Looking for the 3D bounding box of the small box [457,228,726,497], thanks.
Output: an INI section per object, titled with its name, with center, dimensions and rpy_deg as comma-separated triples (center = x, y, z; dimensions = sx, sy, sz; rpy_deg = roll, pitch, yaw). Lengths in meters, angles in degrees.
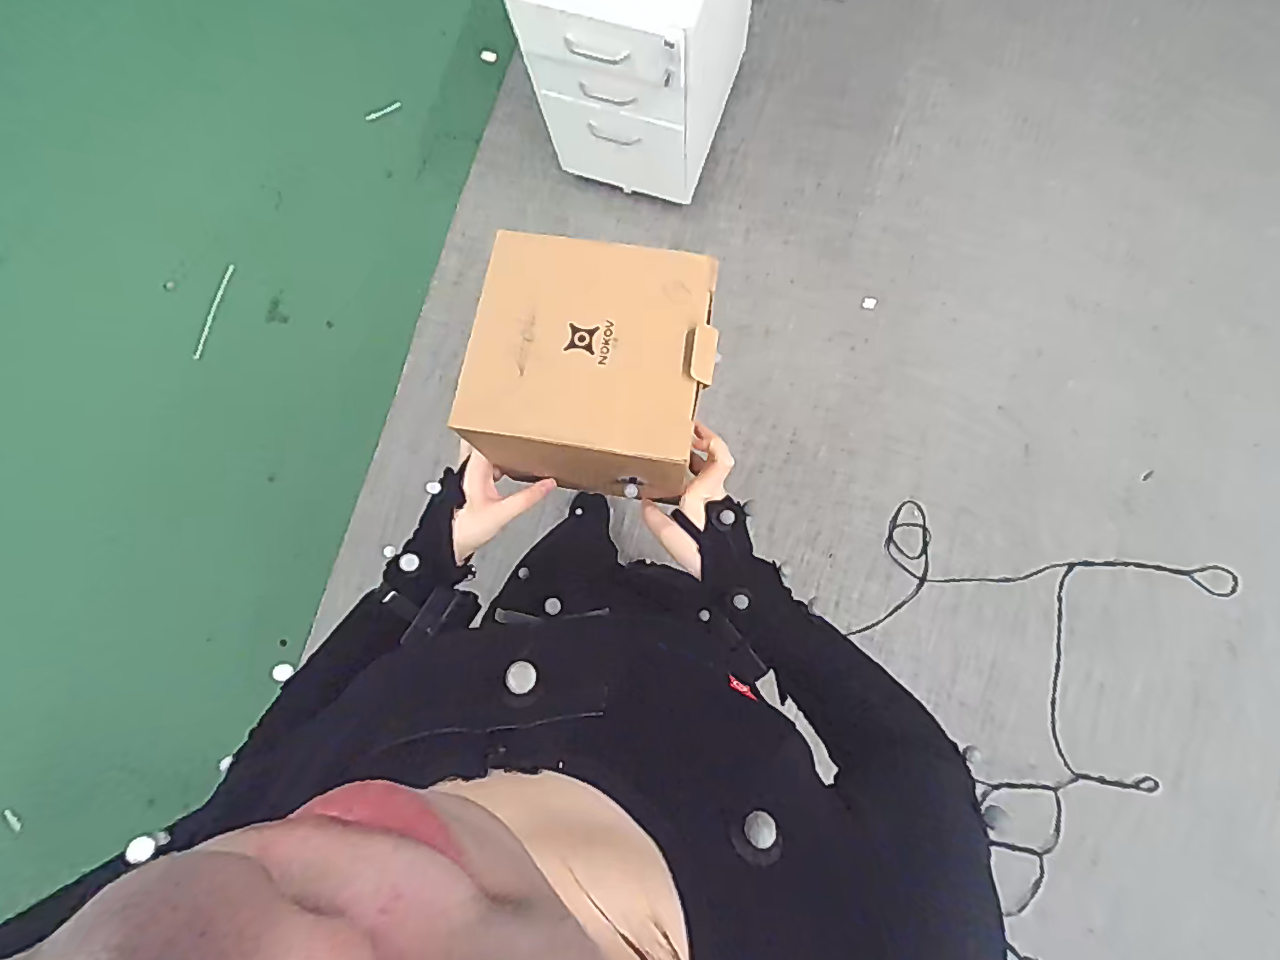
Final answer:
[small box]
center = -0.030, -0.087, 0.476
dimensions = 0.179, 0.176, 0.168
rpy_deg = 8, 77, 5
